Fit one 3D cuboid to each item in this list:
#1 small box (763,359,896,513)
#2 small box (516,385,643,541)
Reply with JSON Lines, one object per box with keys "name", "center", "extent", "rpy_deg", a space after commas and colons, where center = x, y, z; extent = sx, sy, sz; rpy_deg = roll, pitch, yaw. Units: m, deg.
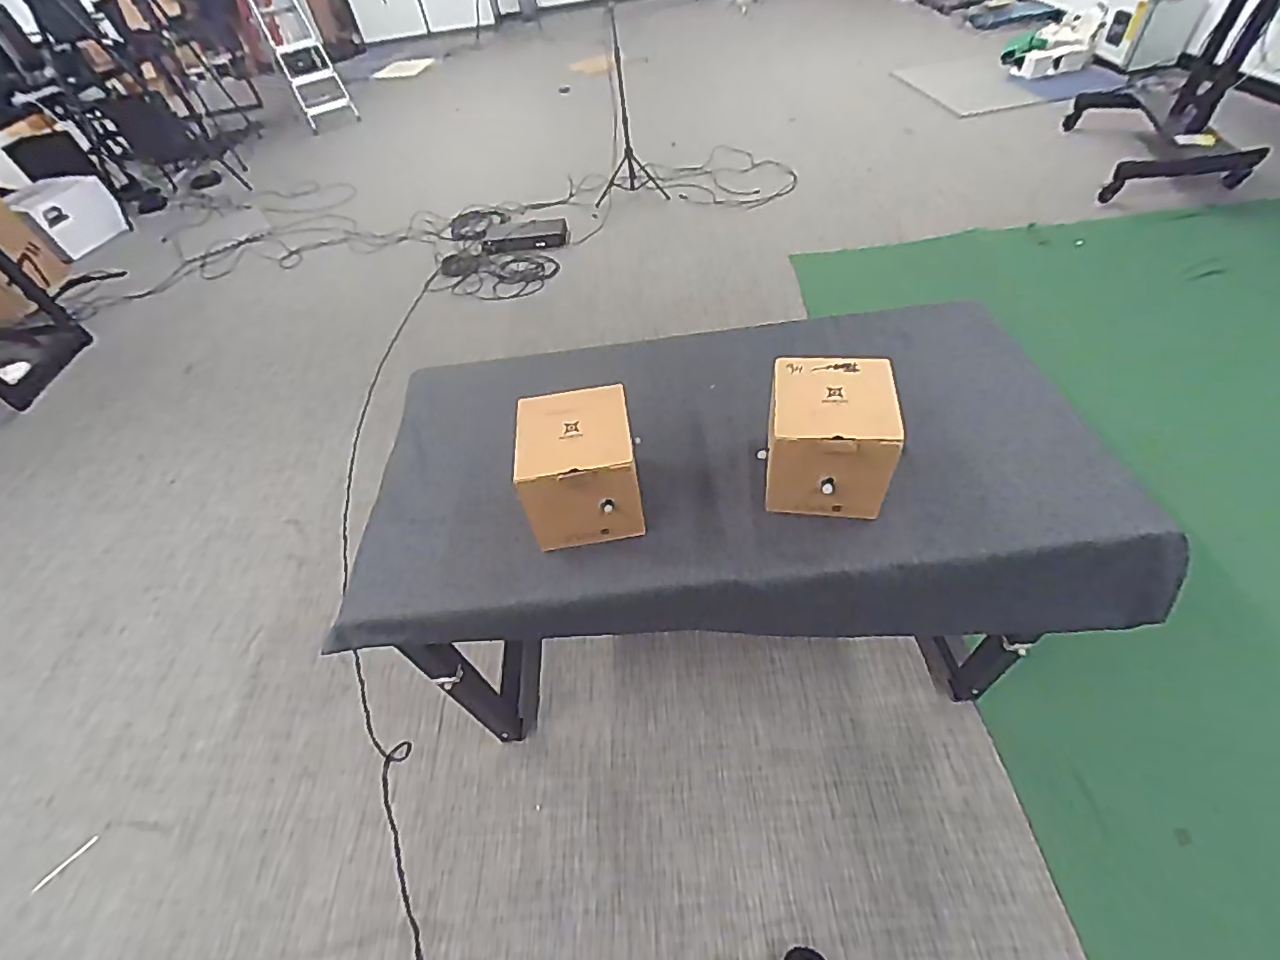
{"name": "small box", "center": [0.281, -0.066, 0.833], "extent": [0.168, 0.176, 0.179], "rpy_deg": [4, 51, 11]}
{"name": "small box", "center": [-0.091, -0.020, 0.848], "extent": [0.168, 0.176, 0.179], "rpy_deg": [-9, 47, -1]}
